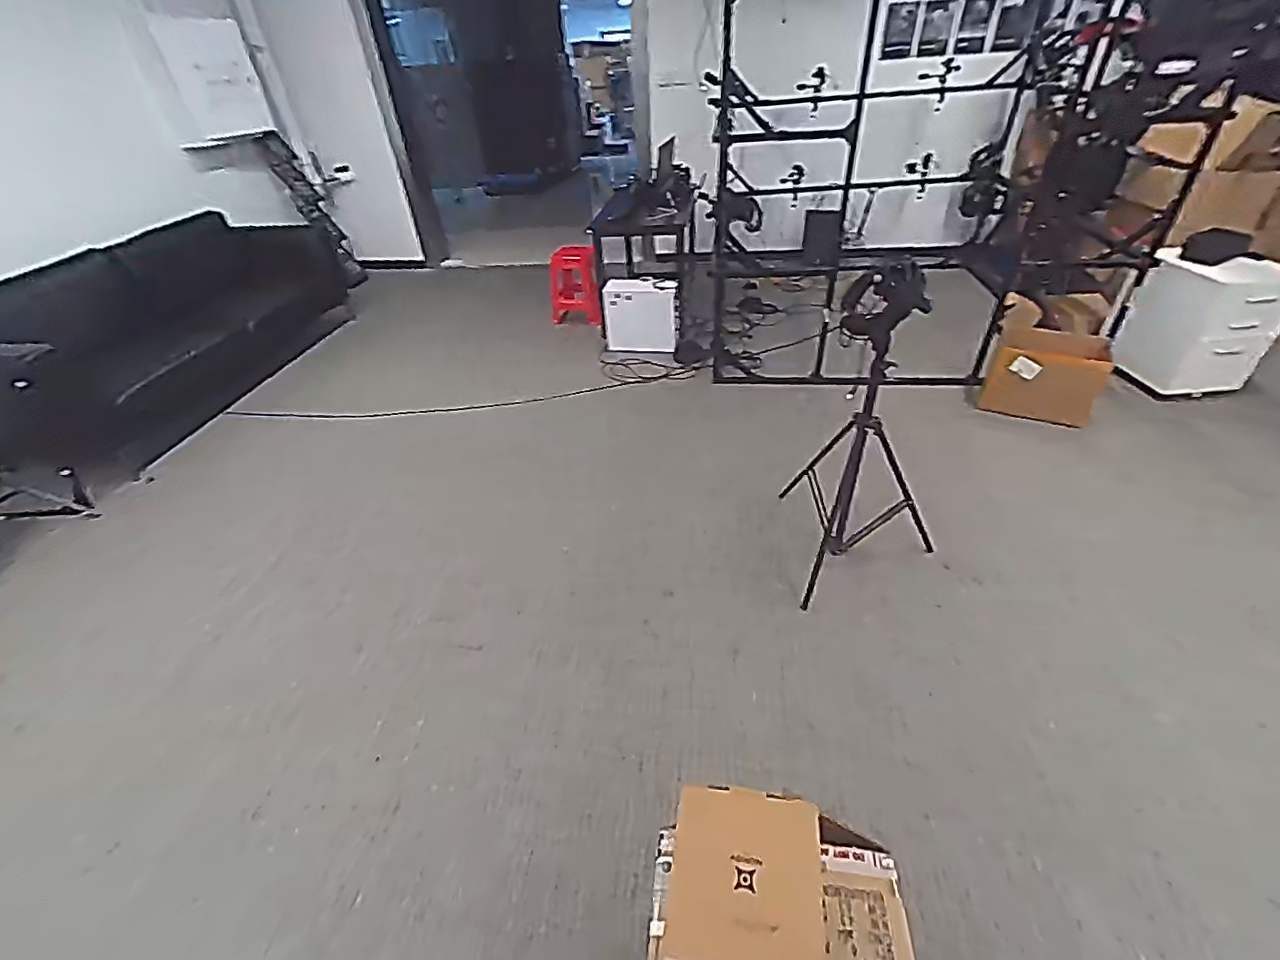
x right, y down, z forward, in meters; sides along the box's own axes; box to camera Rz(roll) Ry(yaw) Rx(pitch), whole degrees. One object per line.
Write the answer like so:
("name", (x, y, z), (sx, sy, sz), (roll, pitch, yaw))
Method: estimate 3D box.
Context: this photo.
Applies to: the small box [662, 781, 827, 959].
("small box", (0.124, 0.495, 0.644), (0.168, 0.176, 0.179), (2, 41, 12))
